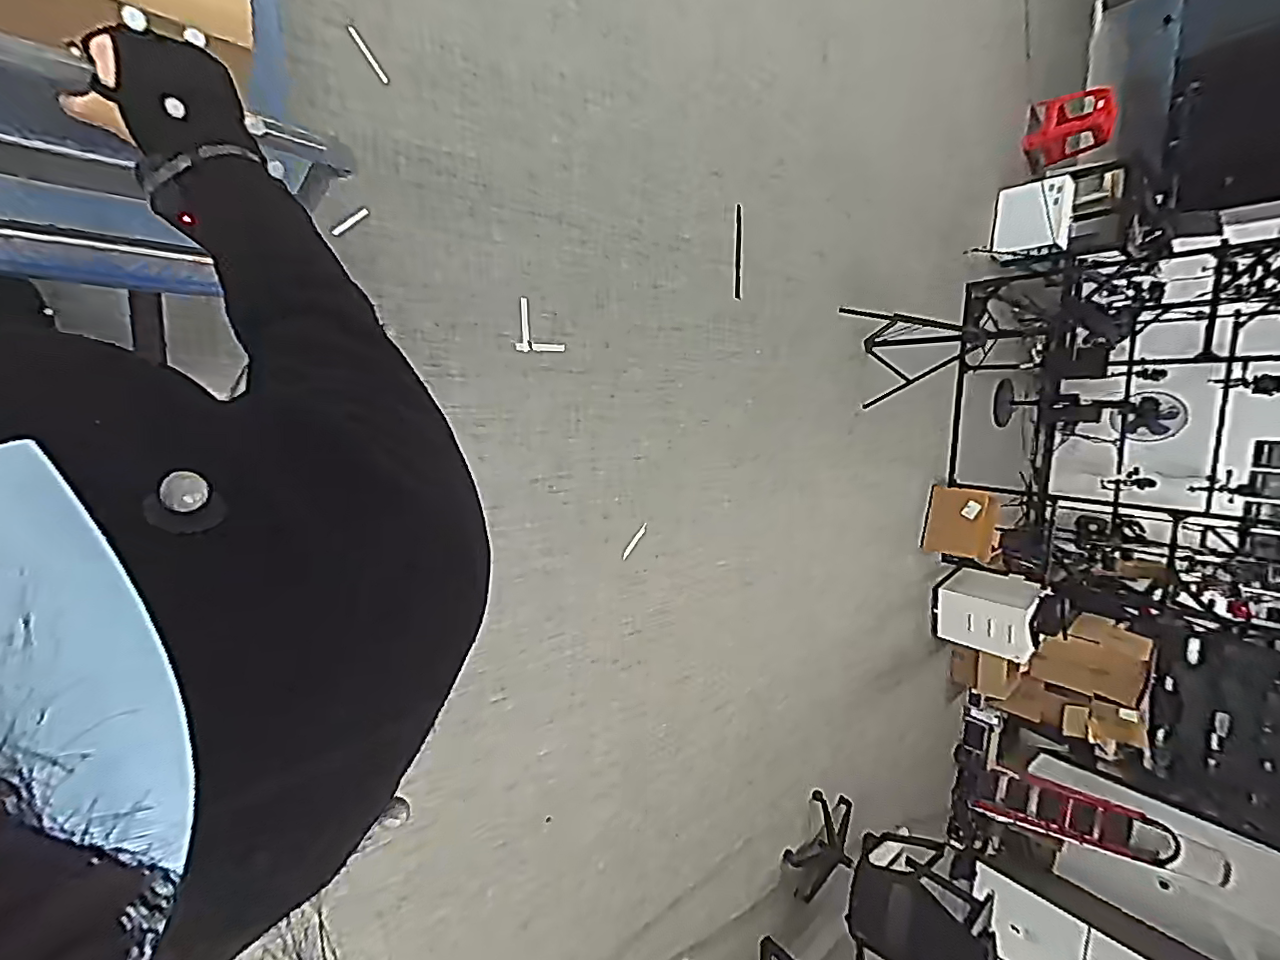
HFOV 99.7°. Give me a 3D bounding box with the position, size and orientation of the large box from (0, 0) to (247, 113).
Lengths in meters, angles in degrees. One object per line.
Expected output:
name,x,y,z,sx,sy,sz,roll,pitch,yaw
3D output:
large box,-0.823,-0.800,0.762,0.408,0.320,0.320,-5,100,-39
